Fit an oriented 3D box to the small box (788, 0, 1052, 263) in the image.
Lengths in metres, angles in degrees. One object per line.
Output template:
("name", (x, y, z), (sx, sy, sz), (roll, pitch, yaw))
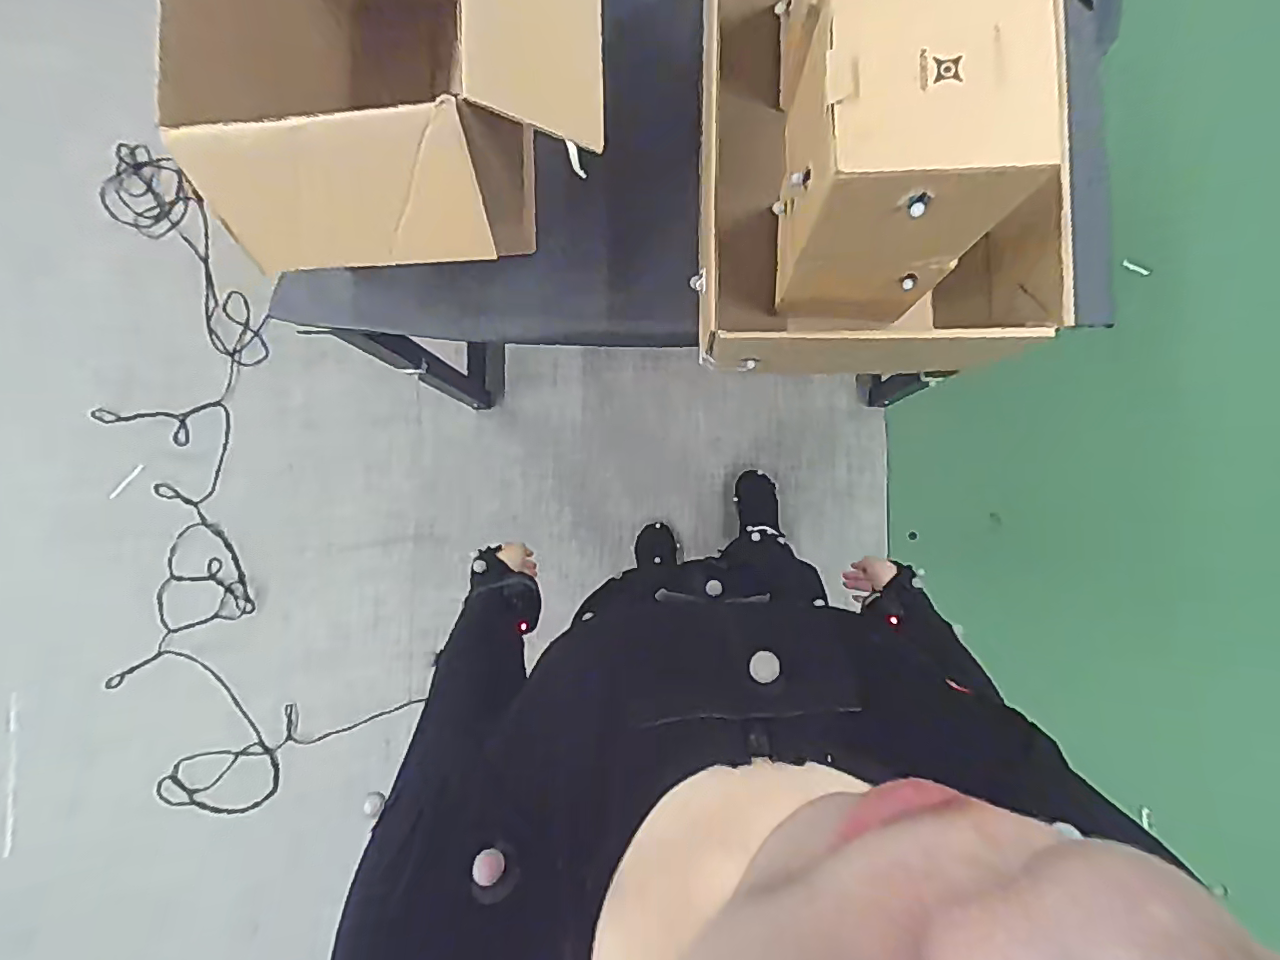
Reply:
("small box", (0.242, -0.321, 0.513), (0.179, 0.176, 0.168), (-1, 88, 3))
